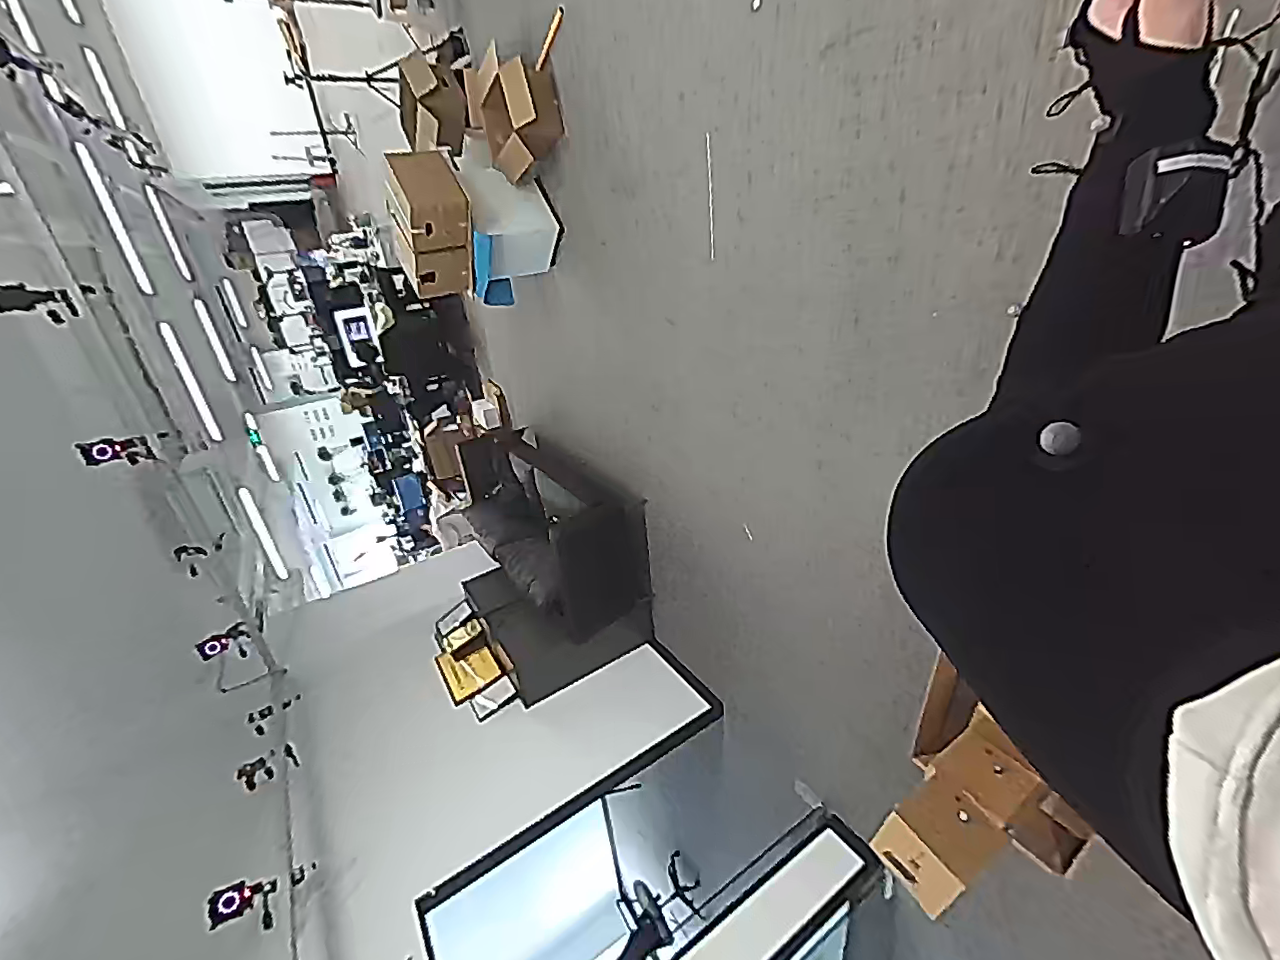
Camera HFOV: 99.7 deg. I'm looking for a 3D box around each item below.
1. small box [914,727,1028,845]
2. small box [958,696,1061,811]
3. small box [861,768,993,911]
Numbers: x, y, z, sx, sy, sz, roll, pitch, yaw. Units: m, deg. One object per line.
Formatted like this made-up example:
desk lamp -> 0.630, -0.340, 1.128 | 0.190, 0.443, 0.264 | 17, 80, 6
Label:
small box -> 0.757, 0.721, 1.253 | 0.168, 0.176, 0.179 | 33, 134, 49
small box -> 0.892, 0.676, 1.330 | 0.168, 0.176, 0.179 | 33, 134, 48
small box -> 0.622, 0.774, 1.174 | 0.168, 0.176, 0.179 | 43, 140, 42
